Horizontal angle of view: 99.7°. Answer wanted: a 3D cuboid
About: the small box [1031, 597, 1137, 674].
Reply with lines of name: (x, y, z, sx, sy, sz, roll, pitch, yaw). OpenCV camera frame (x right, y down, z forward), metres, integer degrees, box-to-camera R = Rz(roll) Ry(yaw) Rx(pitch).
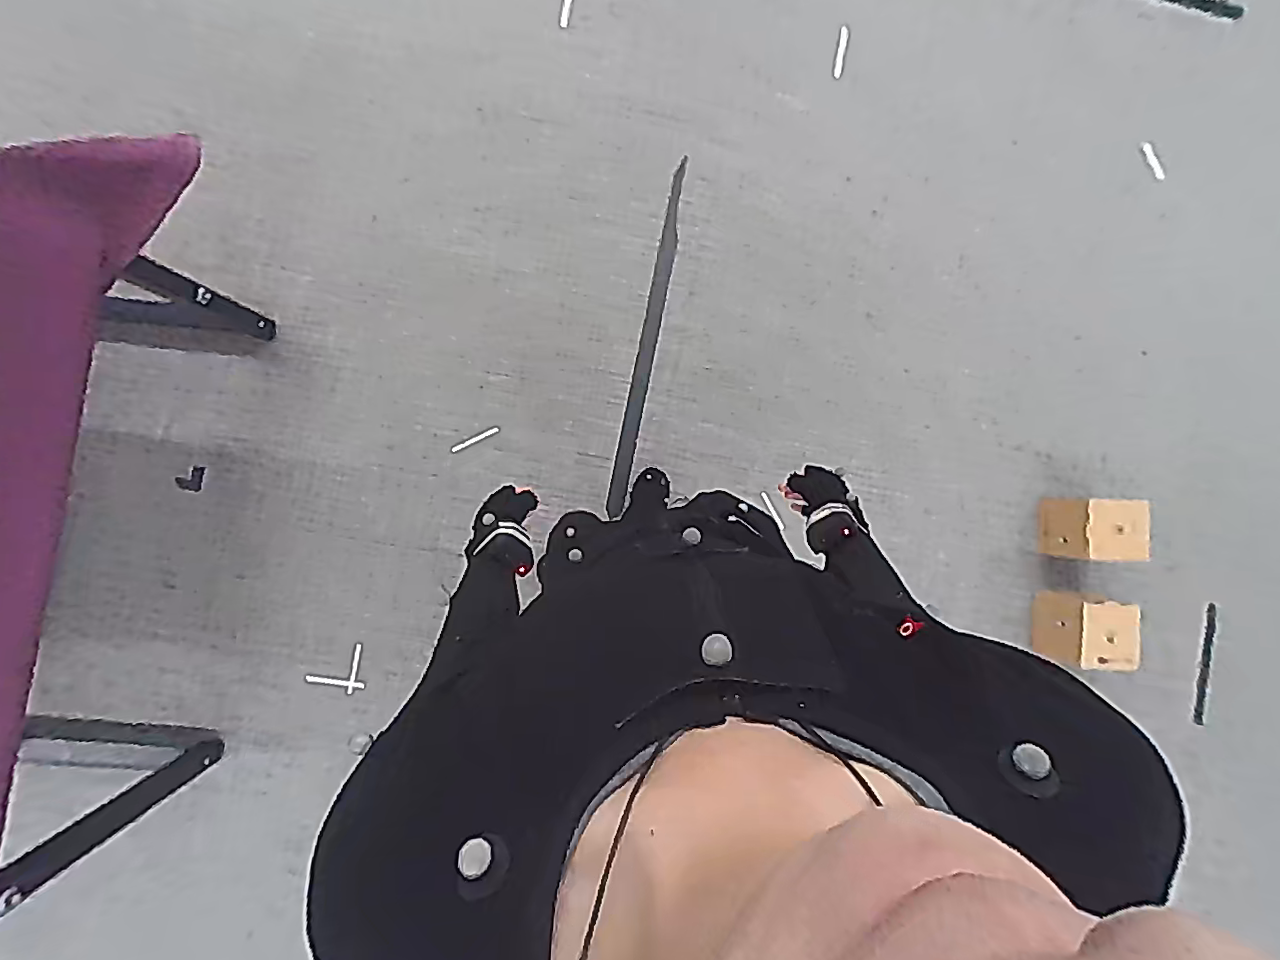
small box: (1.238, 0.430, 1.516, 0.168, 0.176, 0.179, 3, 88, -3)

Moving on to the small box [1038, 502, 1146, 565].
small box: (1.267, 0.147, 1.526, 0.179, 0.176, 0.168, 1, 89, -5)
